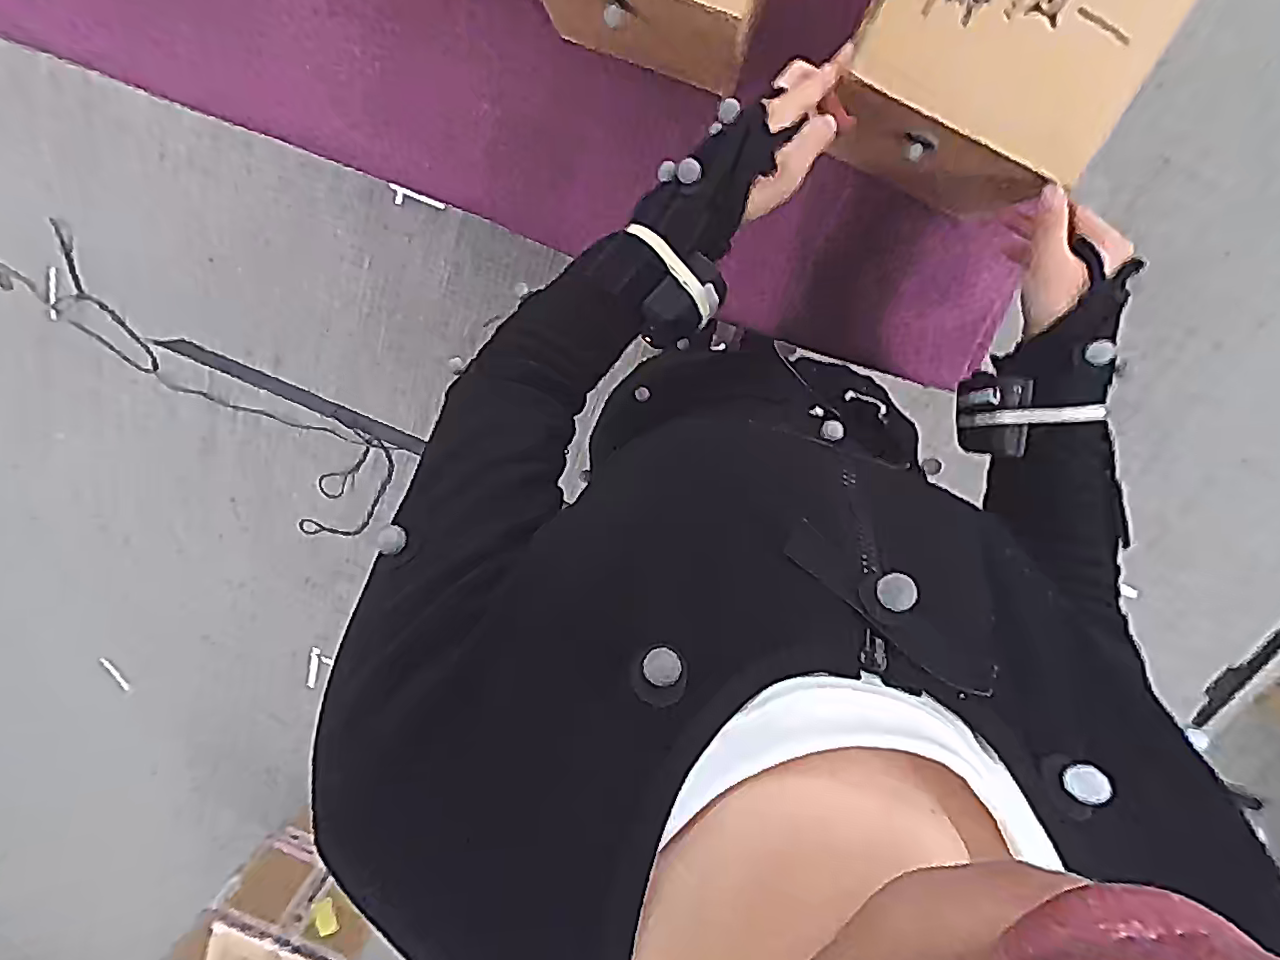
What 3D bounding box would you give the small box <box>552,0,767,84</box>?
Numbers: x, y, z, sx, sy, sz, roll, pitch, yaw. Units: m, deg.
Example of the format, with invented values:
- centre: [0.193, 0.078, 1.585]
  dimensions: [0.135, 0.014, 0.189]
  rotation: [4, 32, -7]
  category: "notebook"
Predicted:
- centre: [0.028, -0.438, 0.410]
  dimensions: [0.179, 0.176, 0.168]
  rotation: [20, 111, 0]
  category: "small box"
